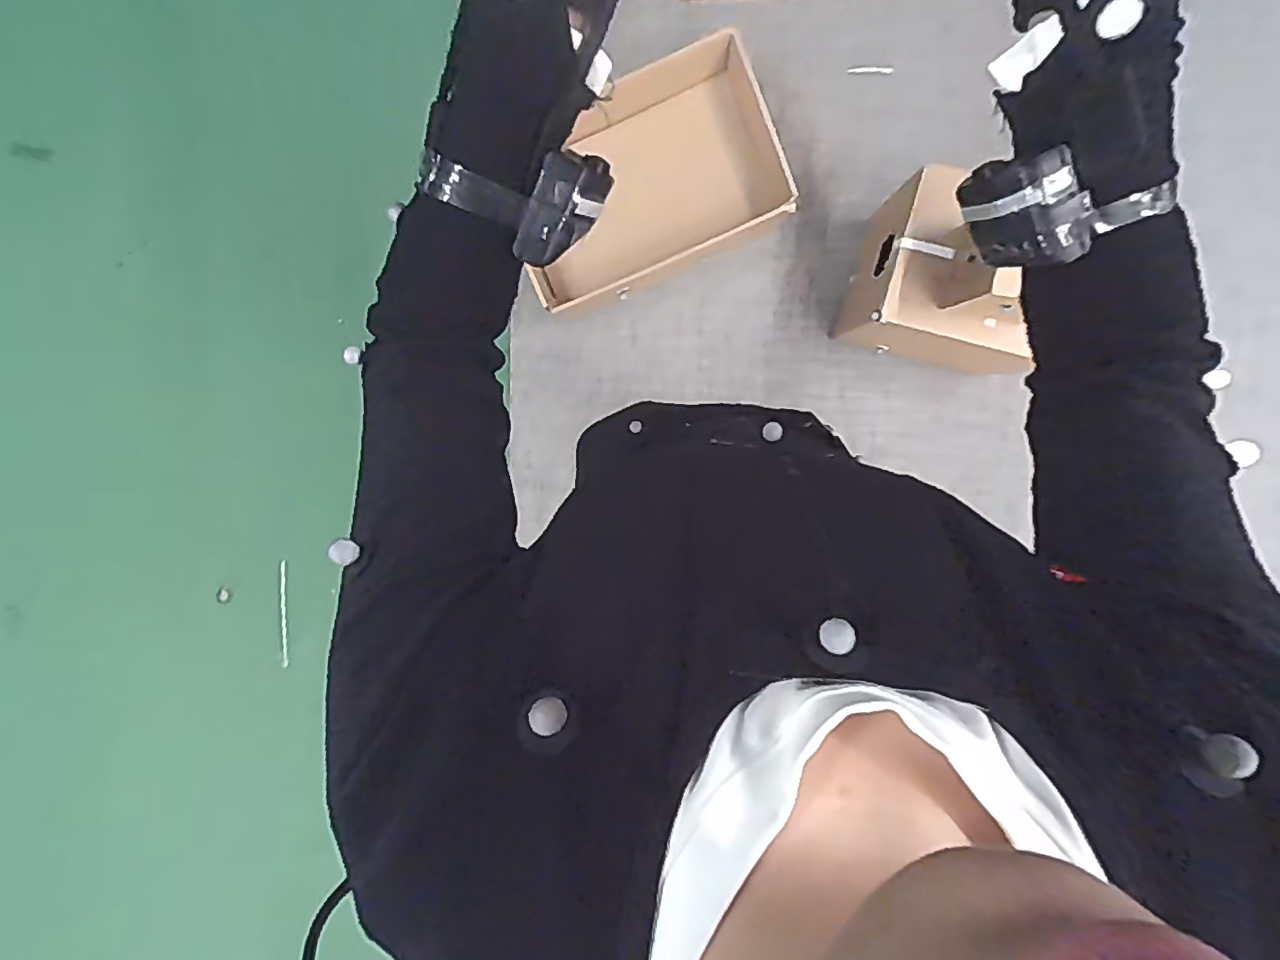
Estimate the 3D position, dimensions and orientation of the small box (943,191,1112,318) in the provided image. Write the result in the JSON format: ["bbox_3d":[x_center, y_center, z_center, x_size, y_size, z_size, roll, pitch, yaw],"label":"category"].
[{"bbox_3d":[0.691,-0.401,0.988,0.179,0.176,0.168,9,98,2],"label":"small box"}]
